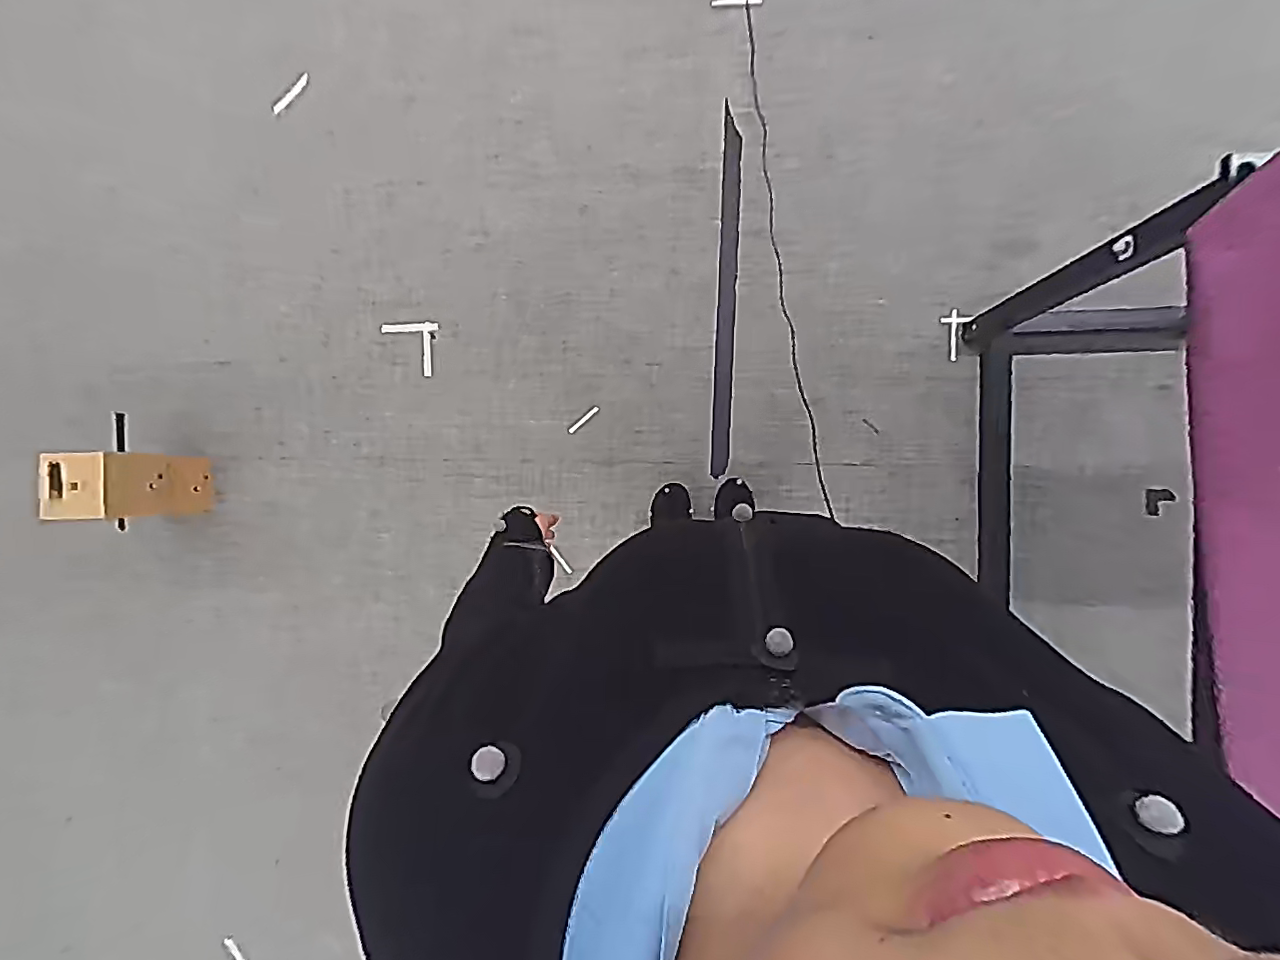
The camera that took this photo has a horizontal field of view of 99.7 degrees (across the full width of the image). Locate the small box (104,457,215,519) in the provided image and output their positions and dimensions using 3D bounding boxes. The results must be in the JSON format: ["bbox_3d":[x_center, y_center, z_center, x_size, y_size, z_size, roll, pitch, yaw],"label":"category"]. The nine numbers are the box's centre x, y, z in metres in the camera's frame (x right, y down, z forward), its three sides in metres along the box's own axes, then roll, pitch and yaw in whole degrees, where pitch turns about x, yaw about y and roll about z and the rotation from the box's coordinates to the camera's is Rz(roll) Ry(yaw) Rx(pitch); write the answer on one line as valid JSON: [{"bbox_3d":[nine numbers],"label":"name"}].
[{"bbox_3d":[-1.386,0.023,1.567,0.179,0.176,0.168,-4,90,5],"label":"small box"}]
